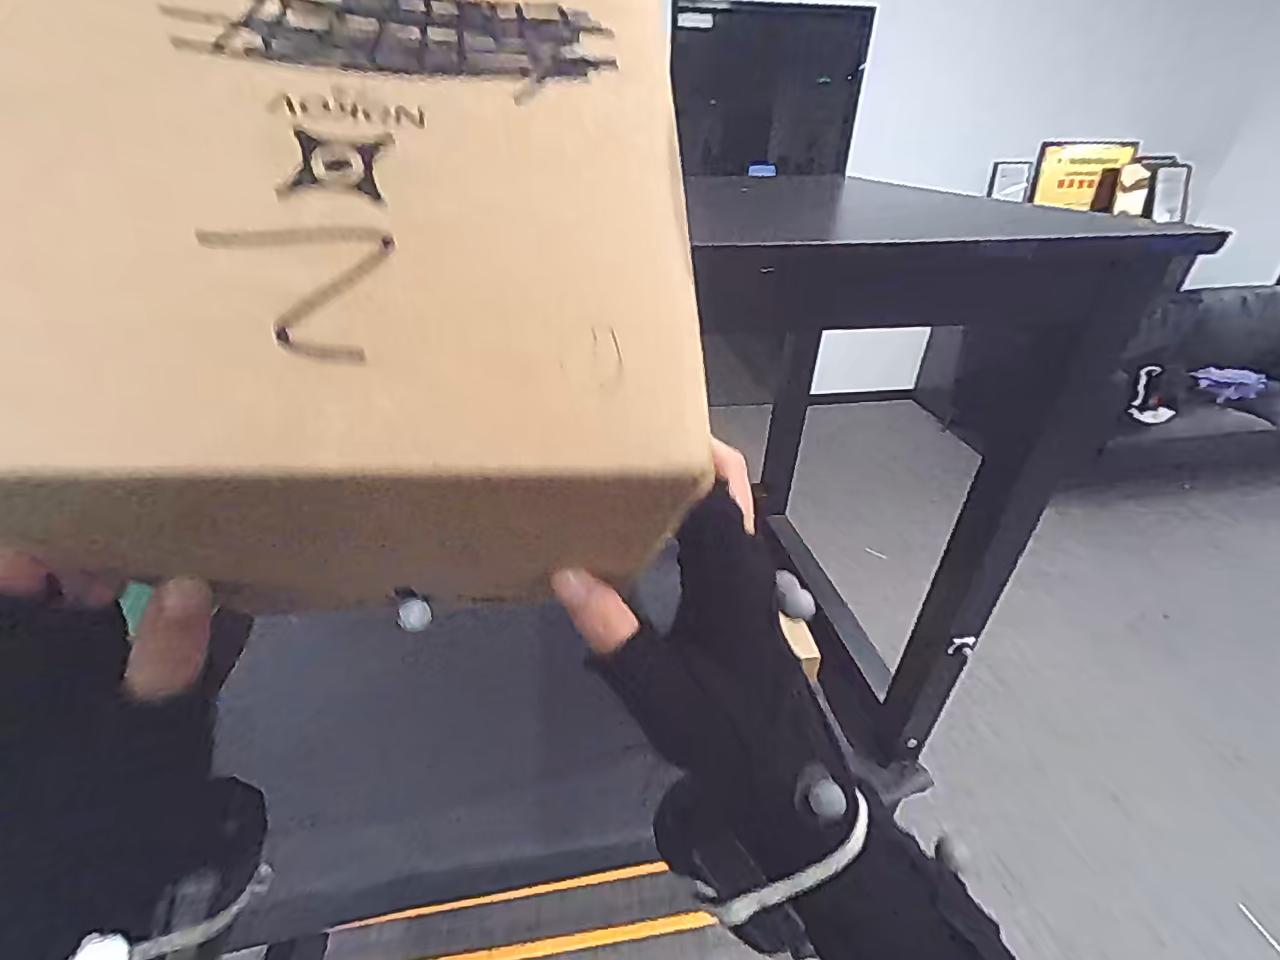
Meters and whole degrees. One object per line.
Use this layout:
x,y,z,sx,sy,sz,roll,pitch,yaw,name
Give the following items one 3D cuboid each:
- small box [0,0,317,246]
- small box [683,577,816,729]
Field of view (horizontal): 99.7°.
-0.358,-0.263,0.376,0.168,0.176,0.179,-4,32,-7,small box
0.166,0.283,0.879,0.168,0.176,0.179,-2,32,-5,small box
